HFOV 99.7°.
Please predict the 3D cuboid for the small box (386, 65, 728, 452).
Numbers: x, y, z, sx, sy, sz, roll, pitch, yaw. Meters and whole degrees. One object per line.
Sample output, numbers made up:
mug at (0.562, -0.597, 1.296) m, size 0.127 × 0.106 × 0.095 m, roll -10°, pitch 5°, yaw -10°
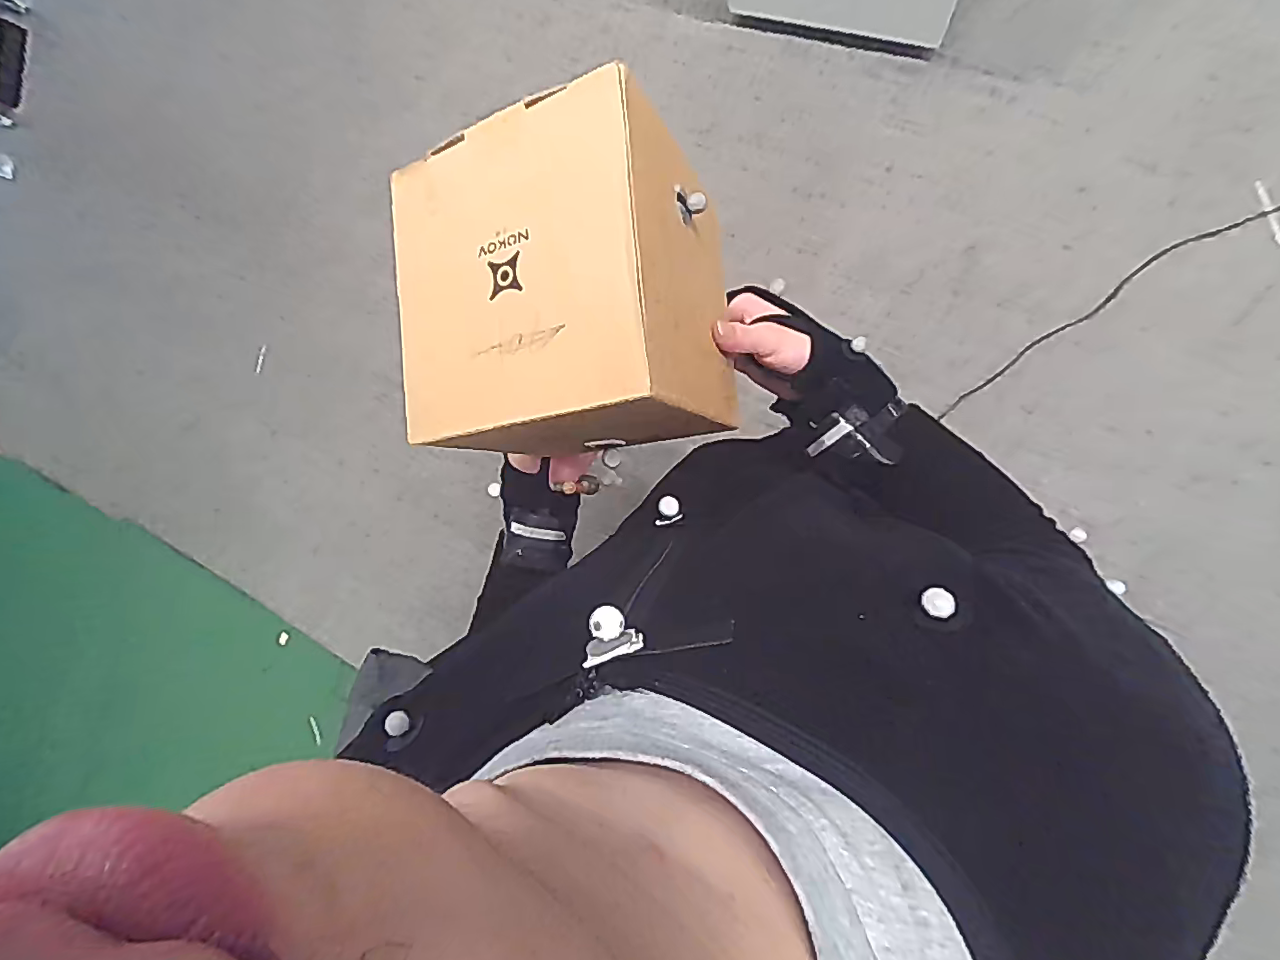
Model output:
small box at (-0.045, -0.118, 0.375) m, size 0.168 × 0.176 × 0.179 m, roll -6°, pitch 88°, yaw 25°
